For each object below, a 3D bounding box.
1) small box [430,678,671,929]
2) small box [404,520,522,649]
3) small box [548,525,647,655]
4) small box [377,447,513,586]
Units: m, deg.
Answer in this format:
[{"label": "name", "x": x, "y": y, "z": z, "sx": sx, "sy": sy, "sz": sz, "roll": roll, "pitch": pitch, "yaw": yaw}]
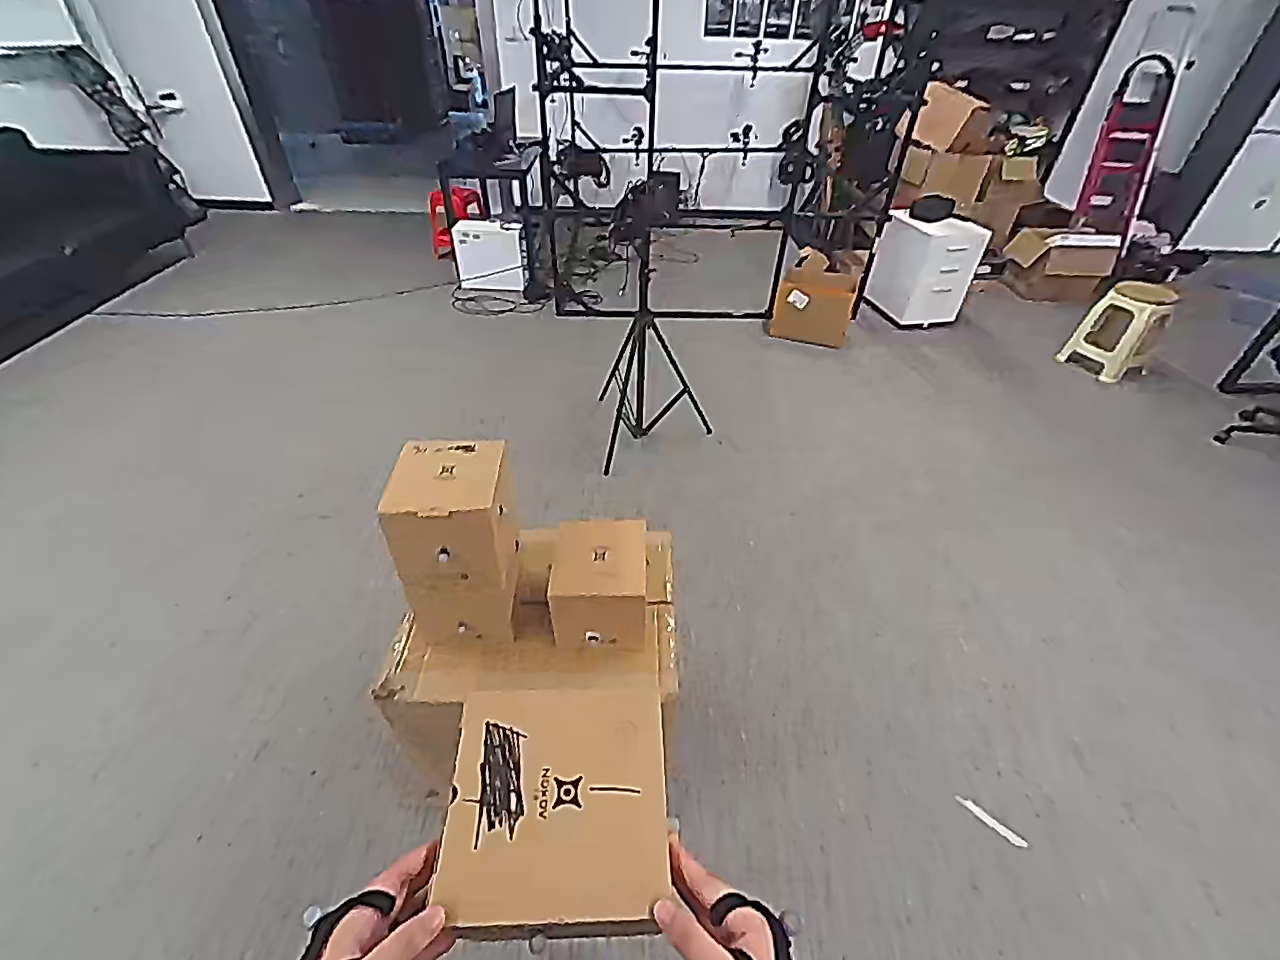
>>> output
[{"label": "small box", "x": -0.067, "y": 0.298, "z": 0.497, "sx": 0.179, "sy": 0.176, "sz": 0.168, "roll": -1, "pitch": 47, "yaw": -3}, {"label": "small box", "x": -0.316, "y": 0.191, "z": 1.007, "sx": 0.168, "sy": 0.176, "sz": 0.179, "roll": 0, "pitch": 40, "yaw": -3}, {"label": "small box", "x": -0.072, "y": 0.203, "z": 1.005, "sx": 0.168, "sy": 0.176, "sz": 0.179, "roll": -1, "pitch": 42, "yaw": 0}, {"label": "small box", "x": -0.310, "y": 0.064, "z": 0.903, "sx": 0.168, "sy": 0.176, "sz": 0.179, "roll": -1, "pitch": 41, "yaw": -5}]
